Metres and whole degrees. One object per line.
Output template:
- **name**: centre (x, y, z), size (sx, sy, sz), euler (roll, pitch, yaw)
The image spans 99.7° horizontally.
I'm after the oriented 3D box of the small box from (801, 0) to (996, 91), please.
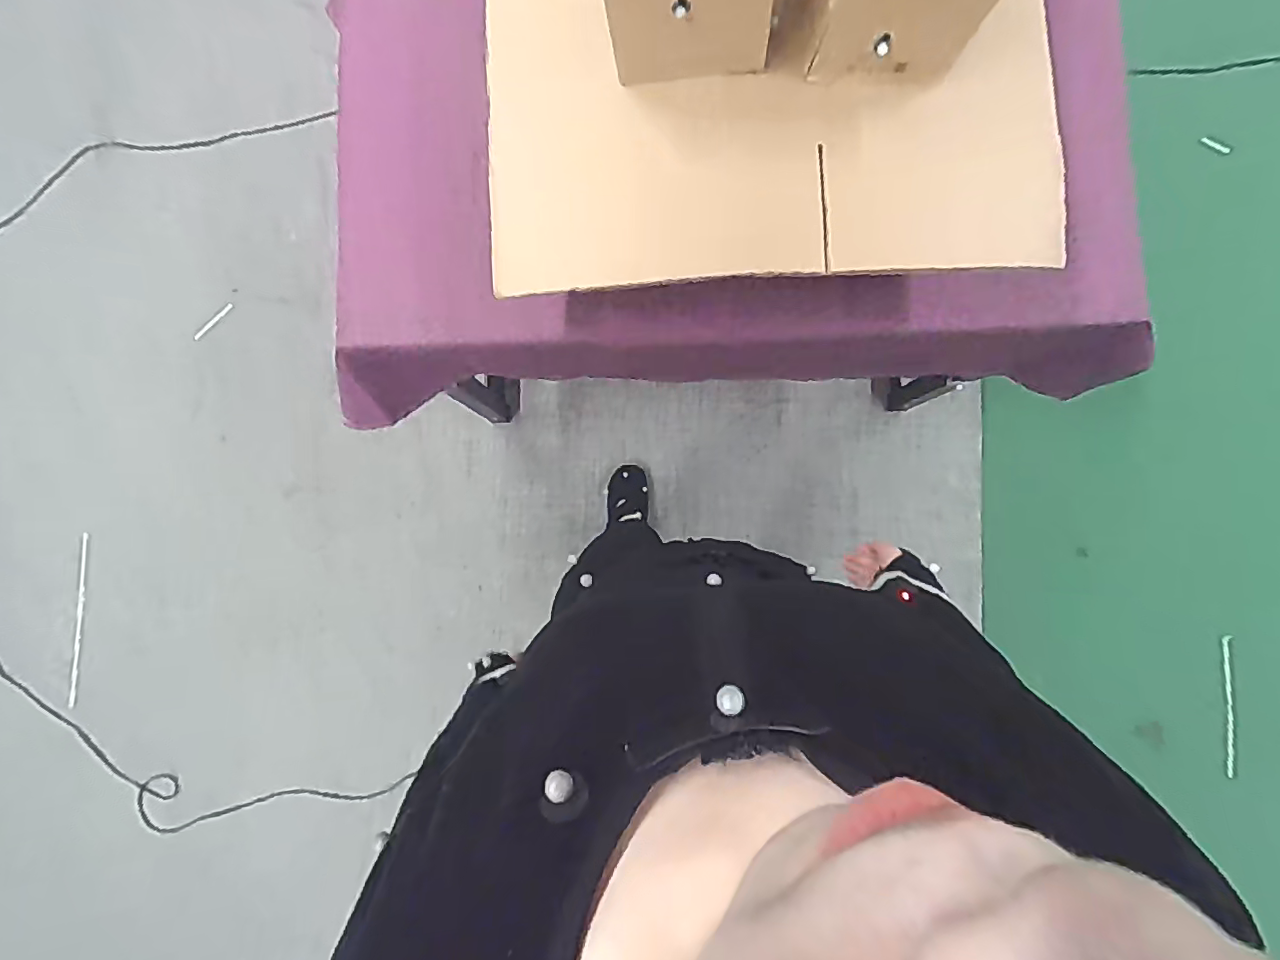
- **small box**: centre (0.277, -0.566, 0.578), size (0.168, 0.176, 0.179), euler (0, 87, -1)
